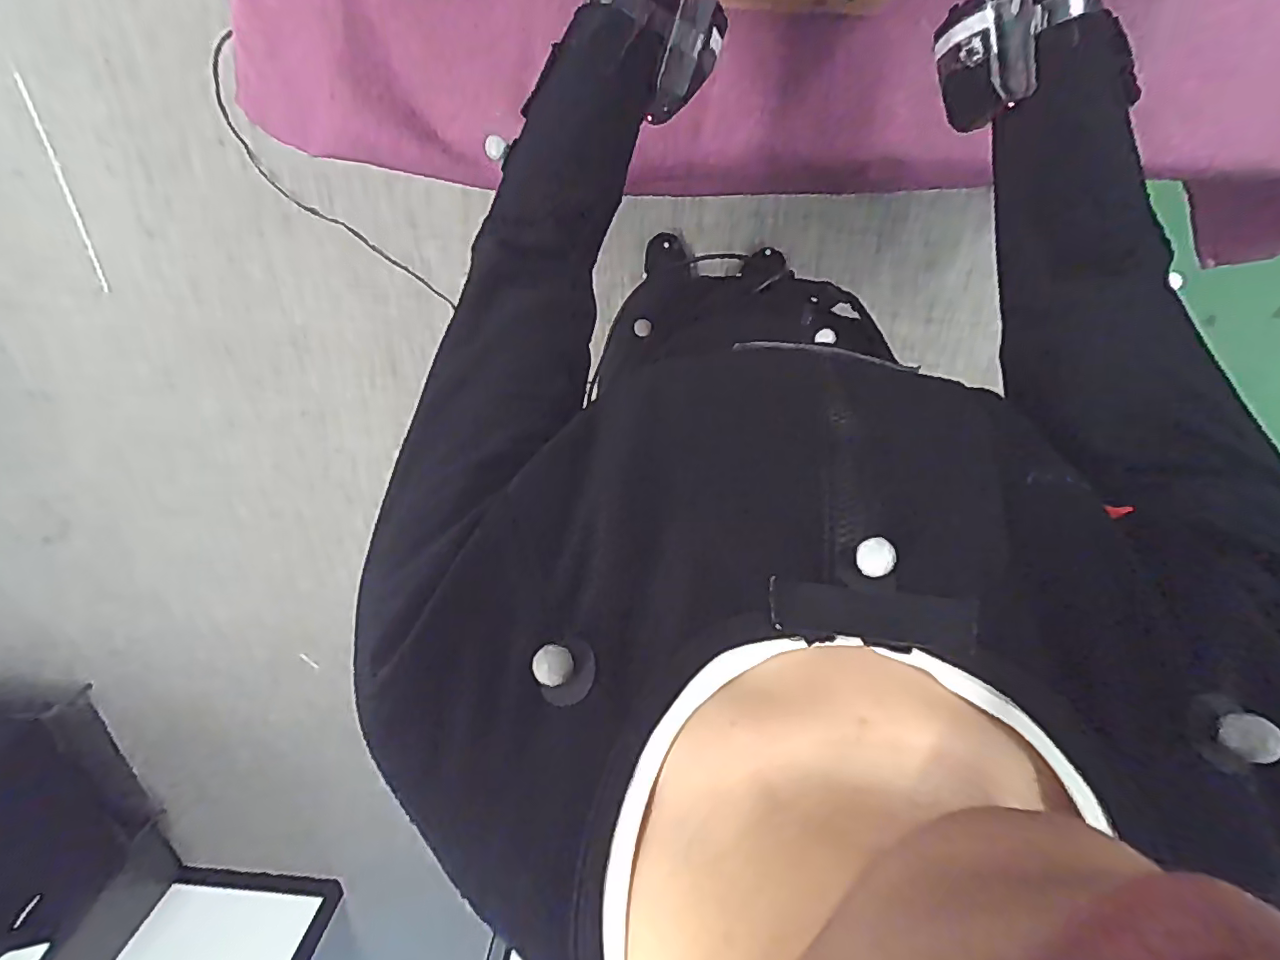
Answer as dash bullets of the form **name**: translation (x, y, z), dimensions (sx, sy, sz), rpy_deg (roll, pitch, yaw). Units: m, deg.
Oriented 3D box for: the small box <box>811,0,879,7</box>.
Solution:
- **small box**: translation (0.149, -0.499, 0.413), dimensions (0.168, 0.176, 0.179), rpy_deg (5, 116, 2)
